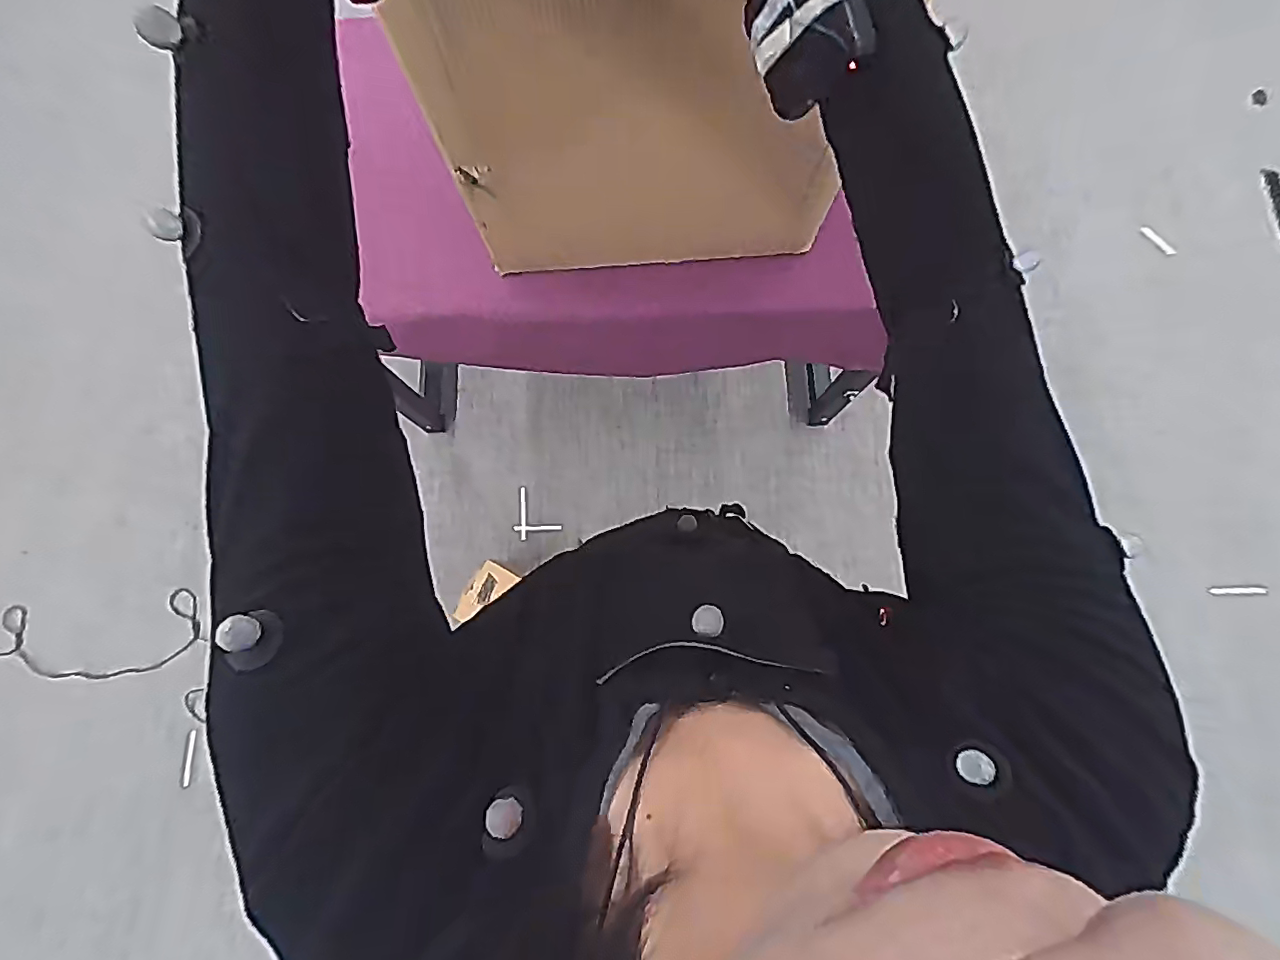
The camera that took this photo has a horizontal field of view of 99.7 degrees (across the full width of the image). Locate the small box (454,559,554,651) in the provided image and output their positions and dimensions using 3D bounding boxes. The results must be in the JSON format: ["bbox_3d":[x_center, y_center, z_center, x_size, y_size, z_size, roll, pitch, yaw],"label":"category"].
[{"bbox_3d":[-0.347,0.326,1.416,0.179,0.176,0.168,29,80,5],"label":"small box"}]
